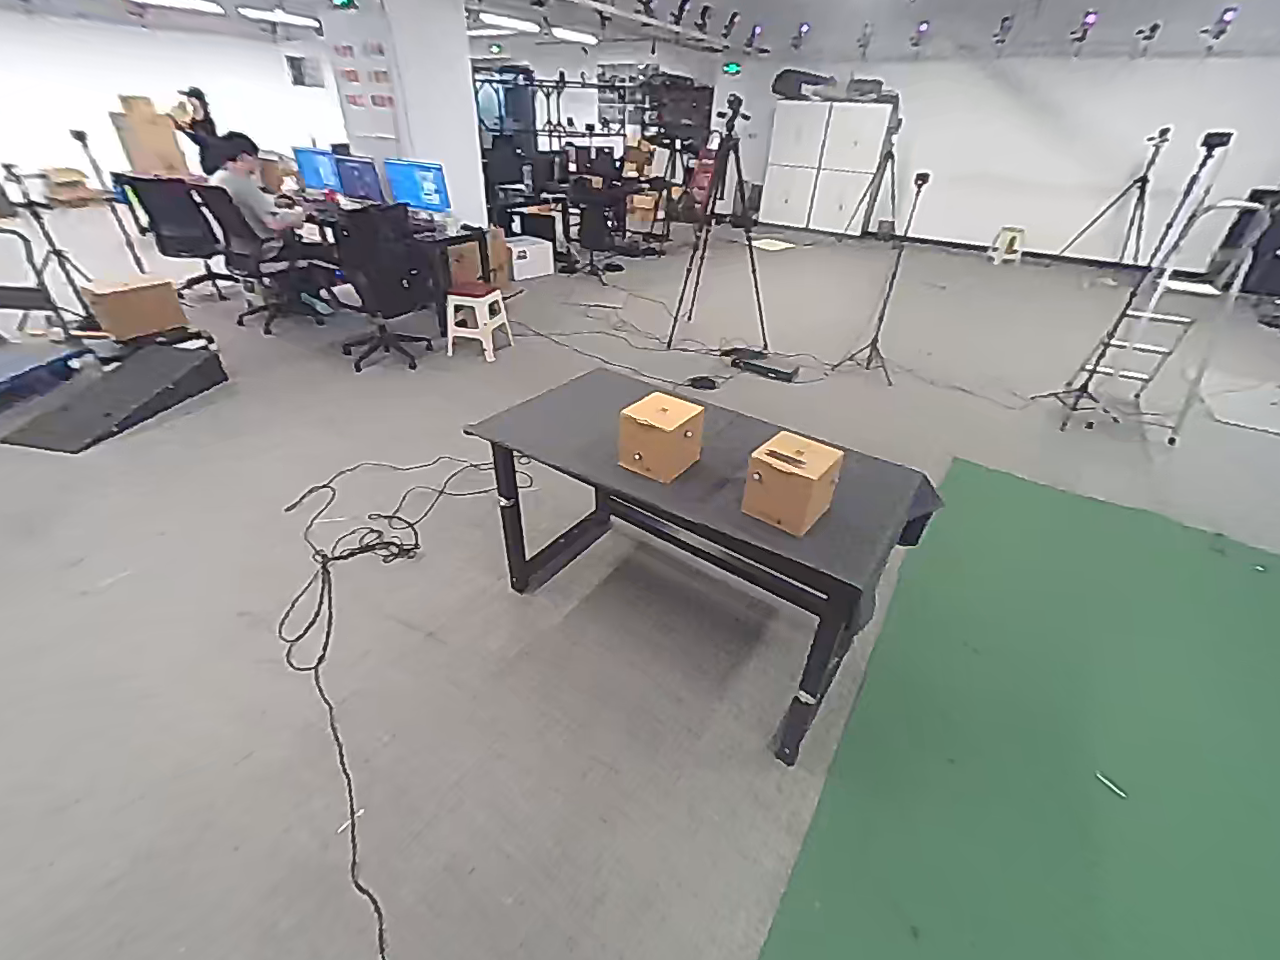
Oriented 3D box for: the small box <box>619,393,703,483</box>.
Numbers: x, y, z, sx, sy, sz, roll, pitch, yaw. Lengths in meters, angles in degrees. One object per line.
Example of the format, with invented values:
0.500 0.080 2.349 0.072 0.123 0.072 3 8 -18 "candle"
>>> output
0.052 -0.118 1.508 0.168 0.176 0.179 24 39 27 "small box"
